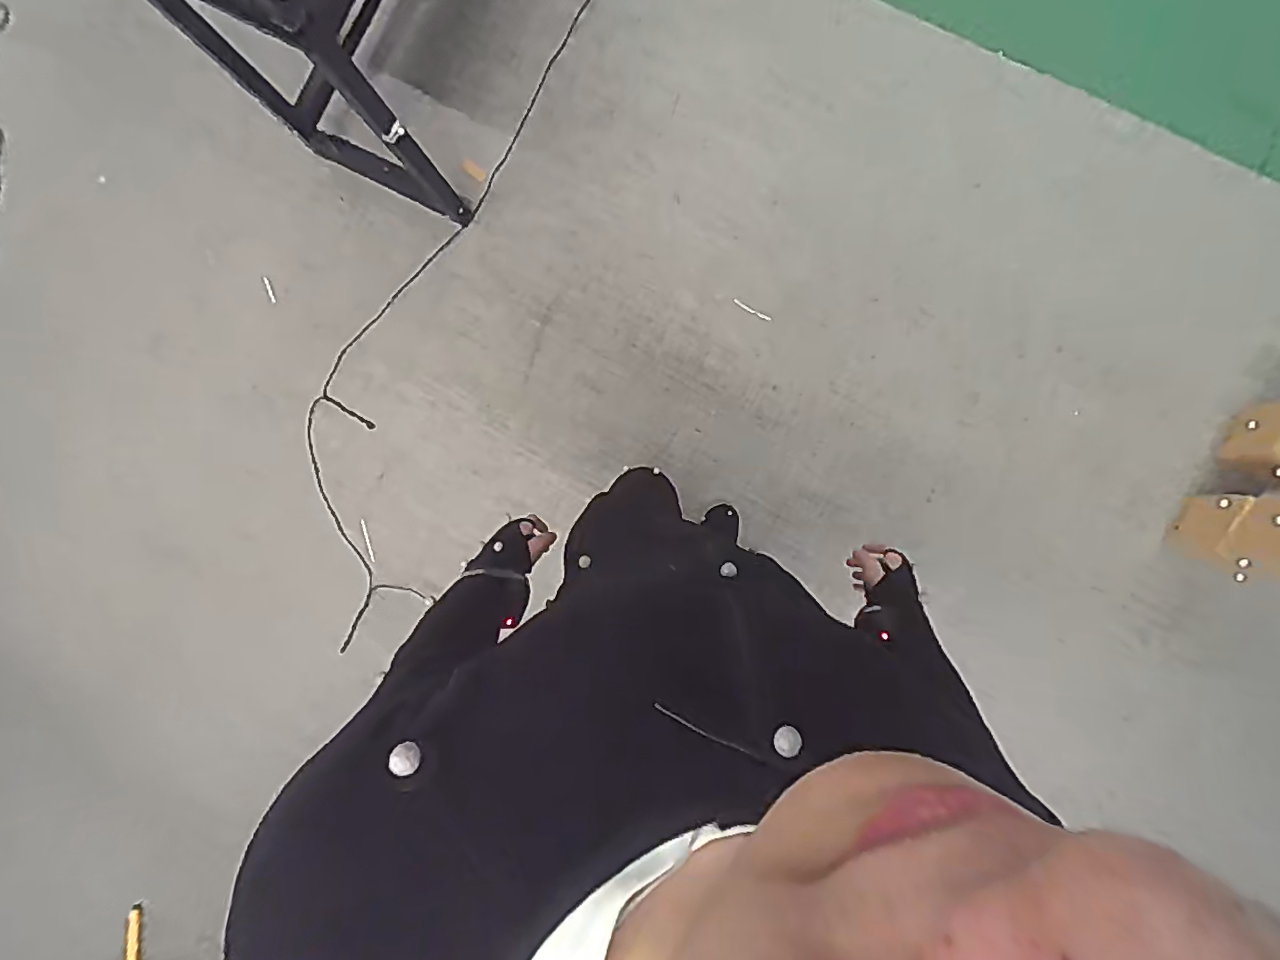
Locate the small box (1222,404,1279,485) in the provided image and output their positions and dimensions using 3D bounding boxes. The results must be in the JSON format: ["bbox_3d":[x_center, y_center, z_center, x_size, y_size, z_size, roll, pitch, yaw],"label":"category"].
[{"bbox_3d":[1.714,-0.092,1.415,0.179,0.176,0.168,31,93,5],"label":"small box"}]

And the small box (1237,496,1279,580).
[{"bbox_3d":[1.576,0.149,1.258,0.168,0.176,0.179,33,91,4],"label":"small box"}]
